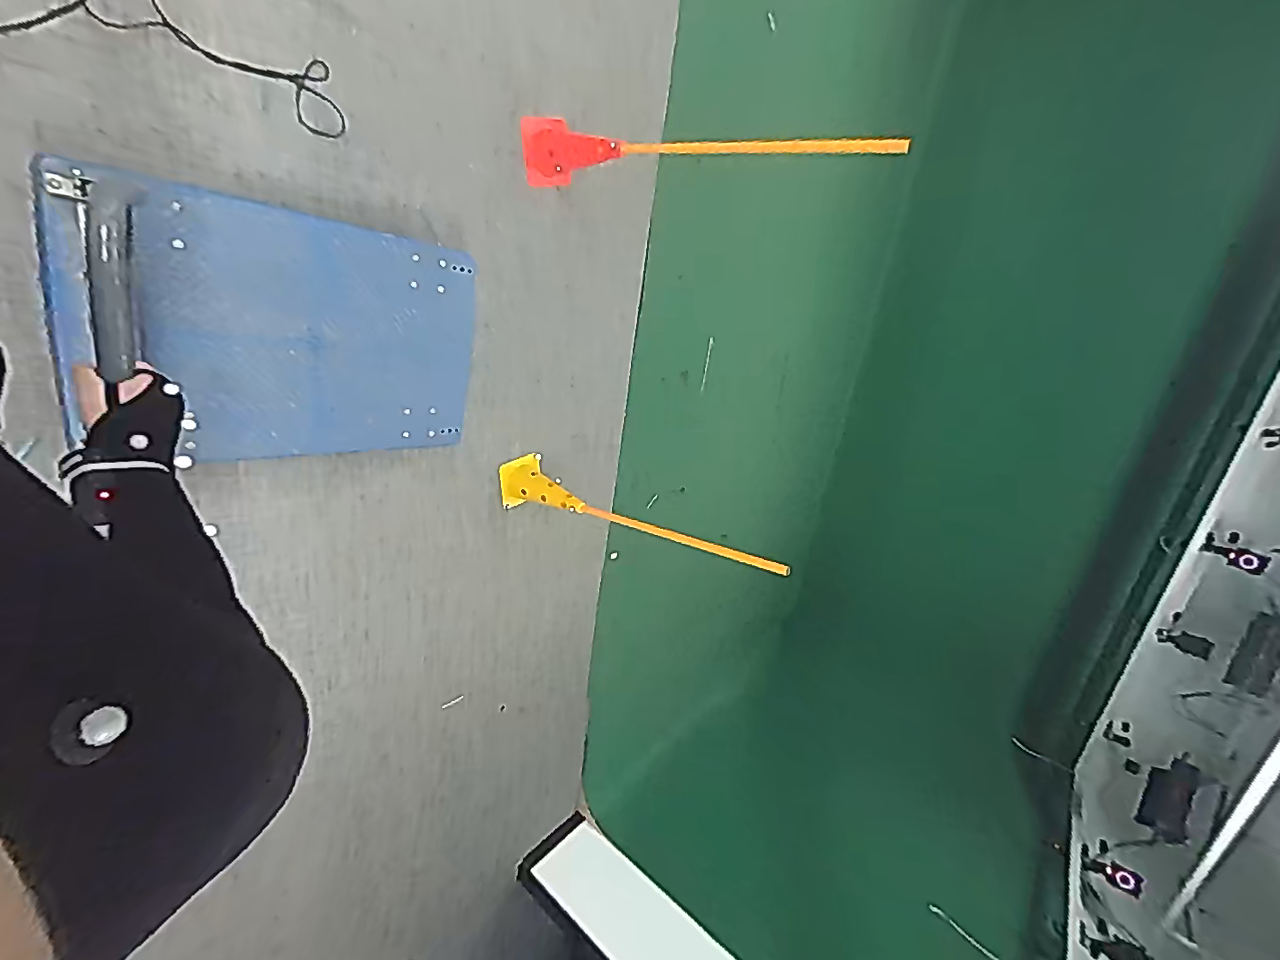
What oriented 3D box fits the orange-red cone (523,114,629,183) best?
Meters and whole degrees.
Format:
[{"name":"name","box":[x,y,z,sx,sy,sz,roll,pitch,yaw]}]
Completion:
[{"name":"orange-red cone","box":[-0.181,-1.072,1.739,0.198,0.360,0.199,-32,131,-41]}]
